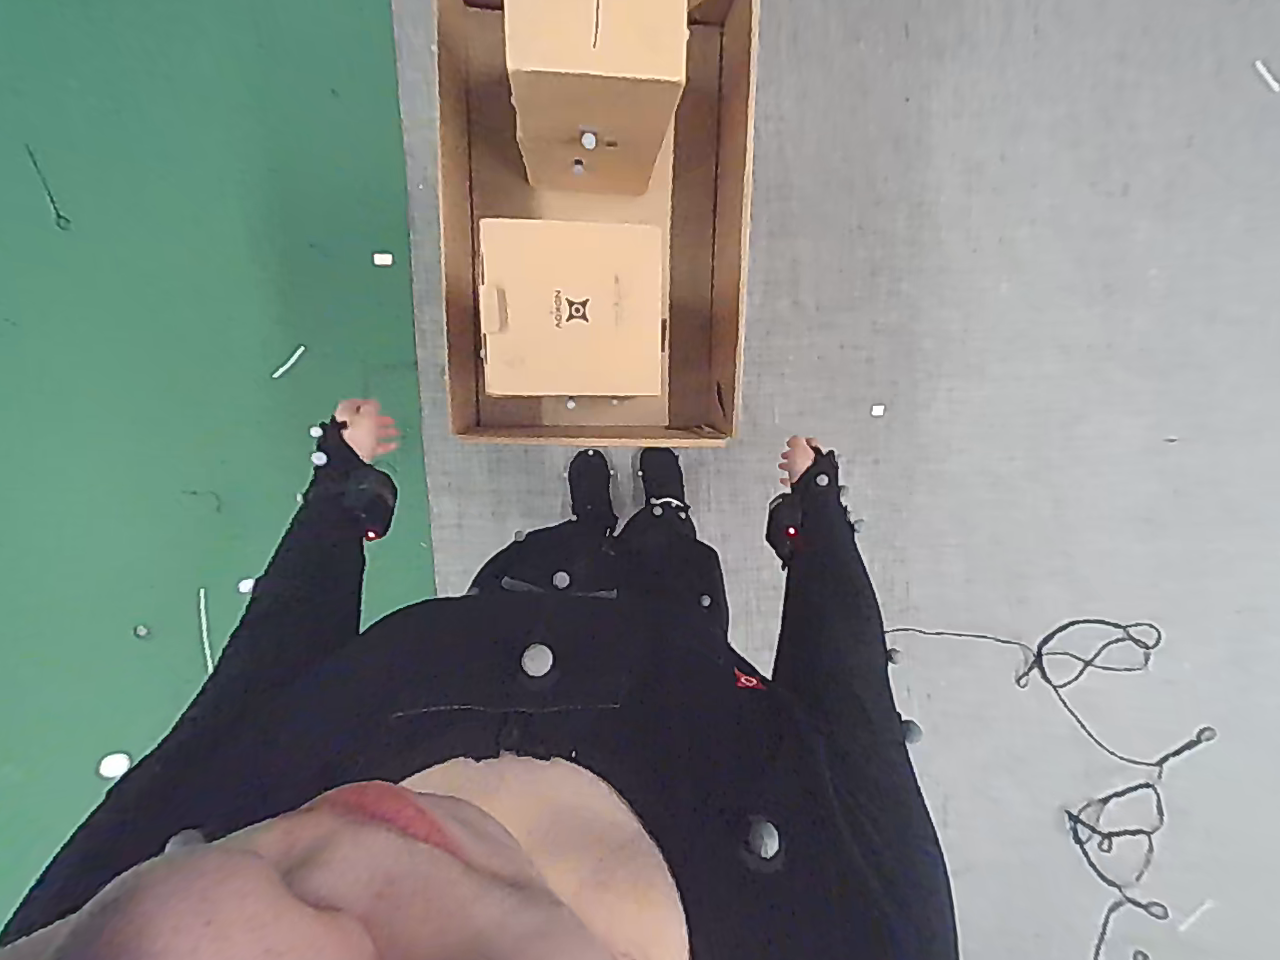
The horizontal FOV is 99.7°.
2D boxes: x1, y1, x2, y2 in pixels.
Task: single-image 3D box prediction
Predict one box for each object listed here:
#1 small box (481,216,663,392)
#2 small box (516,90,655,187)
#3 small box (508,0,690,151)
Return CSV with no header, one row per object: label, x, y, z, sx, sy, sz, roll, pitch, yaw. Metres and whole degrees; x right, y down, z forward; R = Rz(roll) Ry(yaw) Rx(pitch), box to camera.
small box,-0.073,-0.183,0.610,0.179,0.176,0.168,-1,101,-7
small box,-0.065,-0.506,0.715,0.179,0.176,0.168,1,101,-6
small box,-0.045,-0.471,0.556,0.168,0.176,0.179,0,102,-6
